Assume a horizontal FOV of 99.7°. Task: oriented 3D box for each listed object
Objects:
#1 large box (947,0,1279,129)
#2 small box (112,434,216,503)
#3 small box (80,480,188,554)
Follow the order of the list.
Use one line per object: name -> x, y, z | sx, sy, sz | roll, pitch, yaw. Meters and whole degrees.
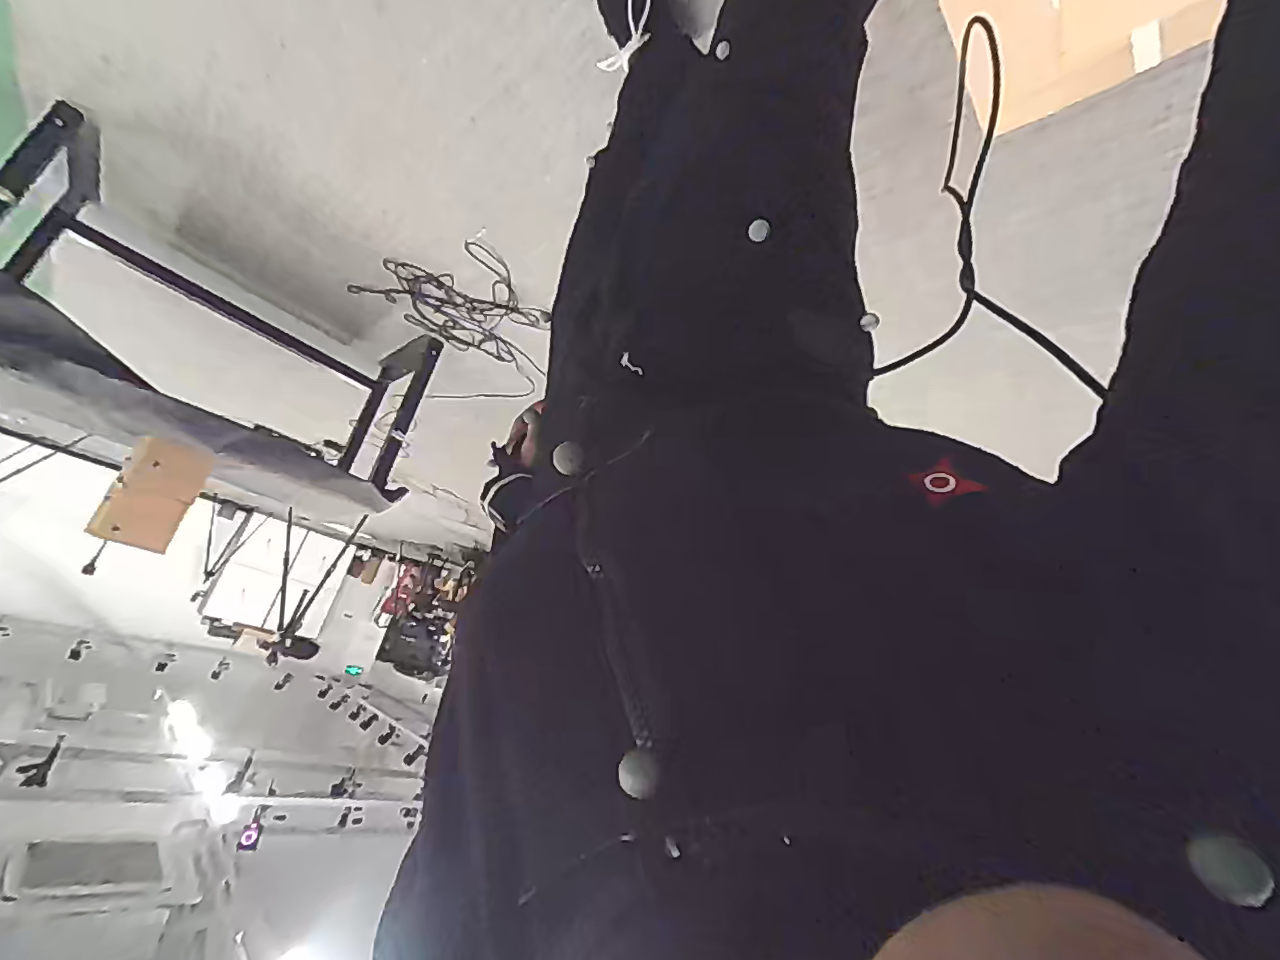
large box -> 0.462, -0.675, 0.515 | 0.320, 0.320, 0.408 | -5, 154, 45
small box -> -1.488, -0.037, 1.694 | 0.168, 0.176, 0.179 | 1, 157, 37
small box -> -1.532, 0.112, 1.644 | 0.168, 0.176, 0.179 | 1, 156, 37
